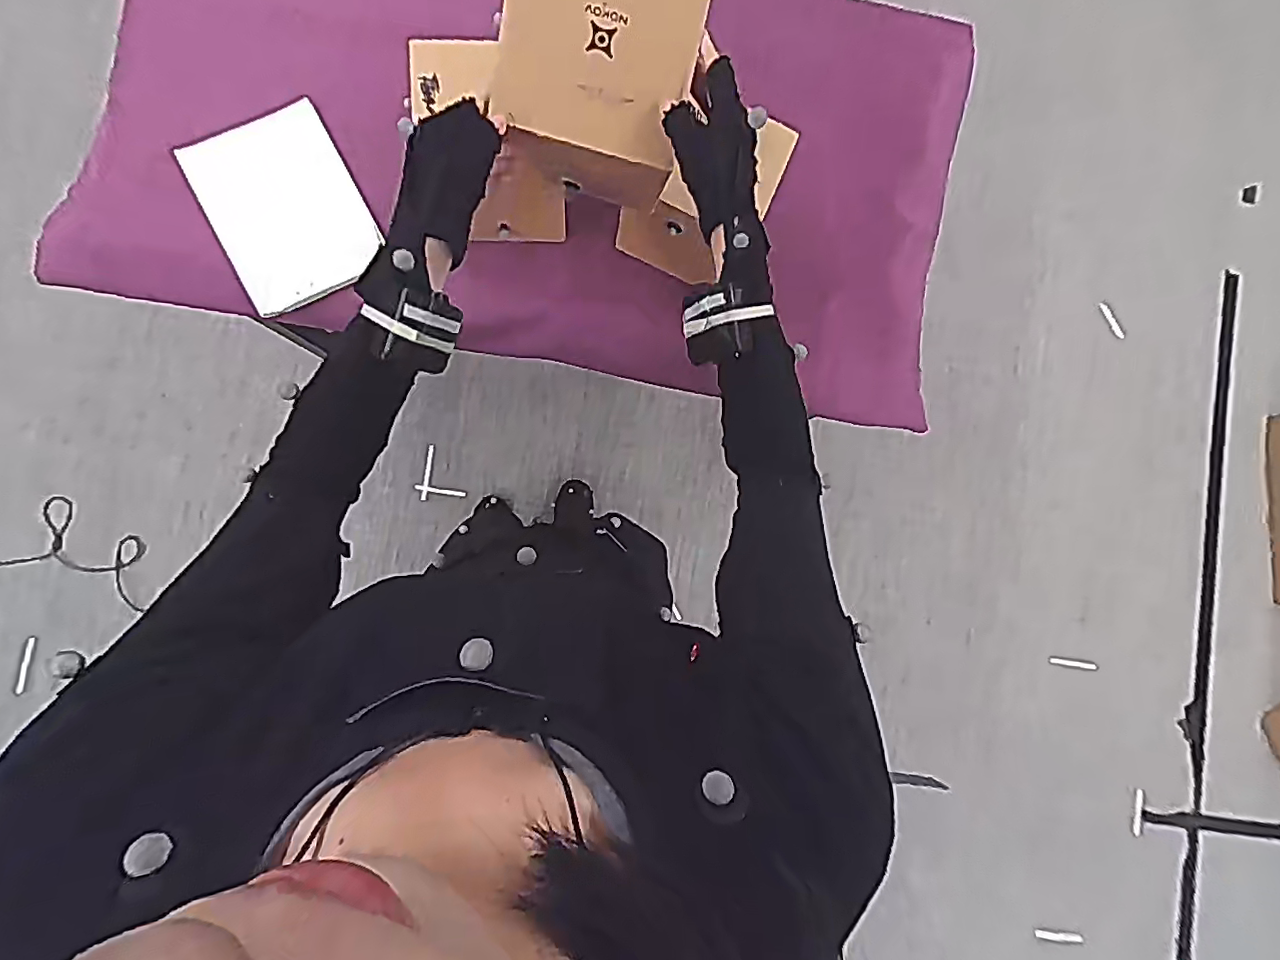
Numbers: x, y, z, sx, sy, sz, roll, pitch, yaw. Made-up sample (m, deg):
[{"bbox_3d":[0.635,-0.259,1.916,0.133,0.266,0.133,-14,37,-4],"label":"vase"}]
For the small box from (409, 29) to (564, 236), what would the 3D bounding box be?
[{"bbox_3d":[-0.192,-0.445,0.720,0.179,0.176,0.168,-3,86,-7],"label":"small box"}]

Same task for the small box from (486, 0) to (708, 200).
[{"bbox_3d":[-0.038,-0.399,0.518,0.168,0.176,0.179,11,102,-7],"label":"small box"}]

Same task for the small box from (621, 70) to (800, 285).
[{"bbox_3d":[0.083,-0.400,0.745,0.179,0.176,0.168,24,84,-4],"label":"small box"}]
